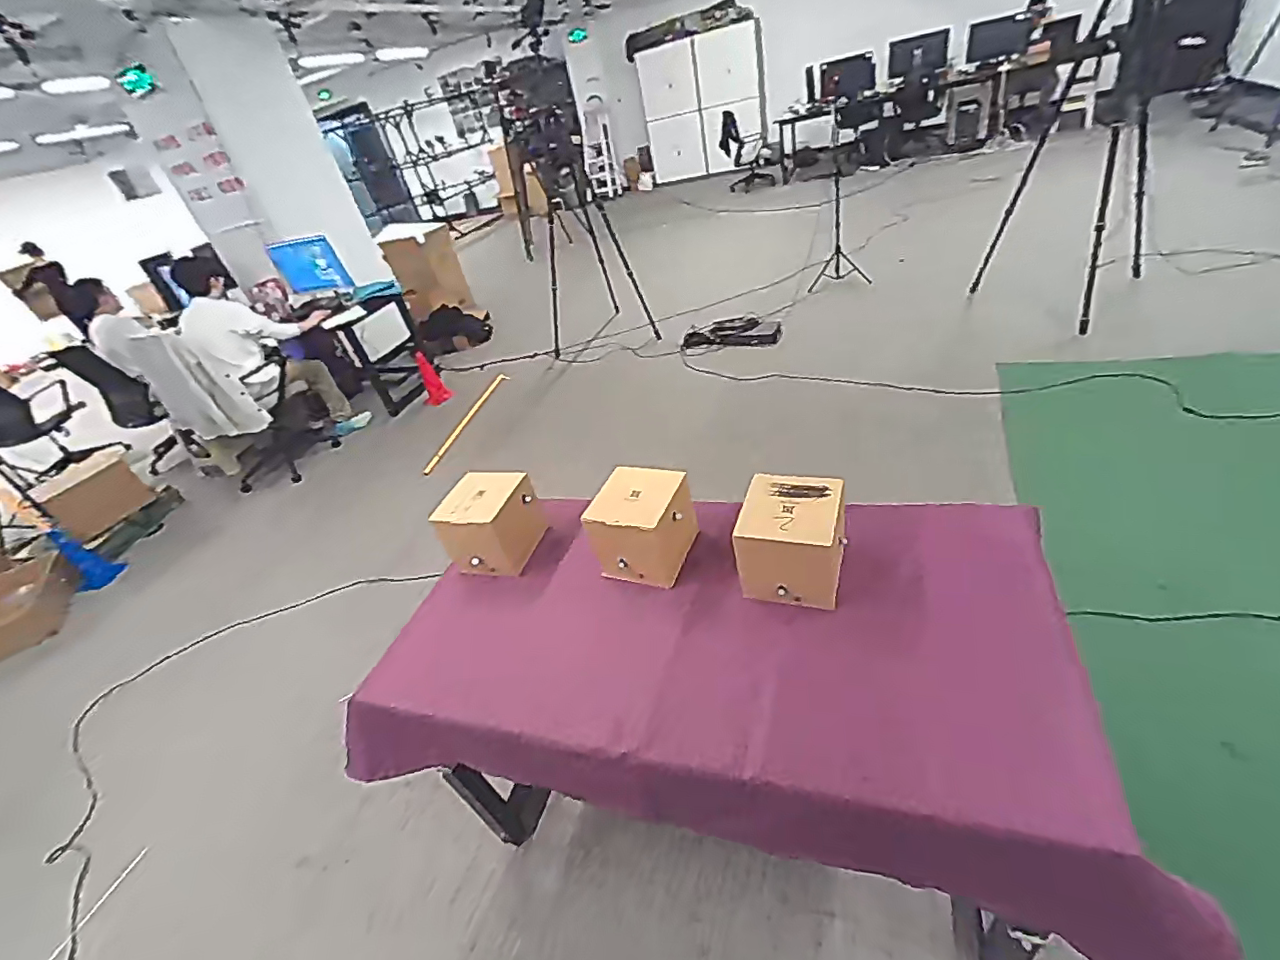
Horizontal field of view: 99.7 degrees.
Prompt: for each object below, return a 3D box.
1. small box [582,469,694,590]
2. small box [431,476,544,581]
[{"bbox_3d":[0.006,0.101,1.135,0.168,0.176,0.179,5,42,27],"label":"small box"},{"bbox_3d":[-0.341,0.109,1.256,0.168,0.176,0.179,0,39,22],"label":"small box"}]
